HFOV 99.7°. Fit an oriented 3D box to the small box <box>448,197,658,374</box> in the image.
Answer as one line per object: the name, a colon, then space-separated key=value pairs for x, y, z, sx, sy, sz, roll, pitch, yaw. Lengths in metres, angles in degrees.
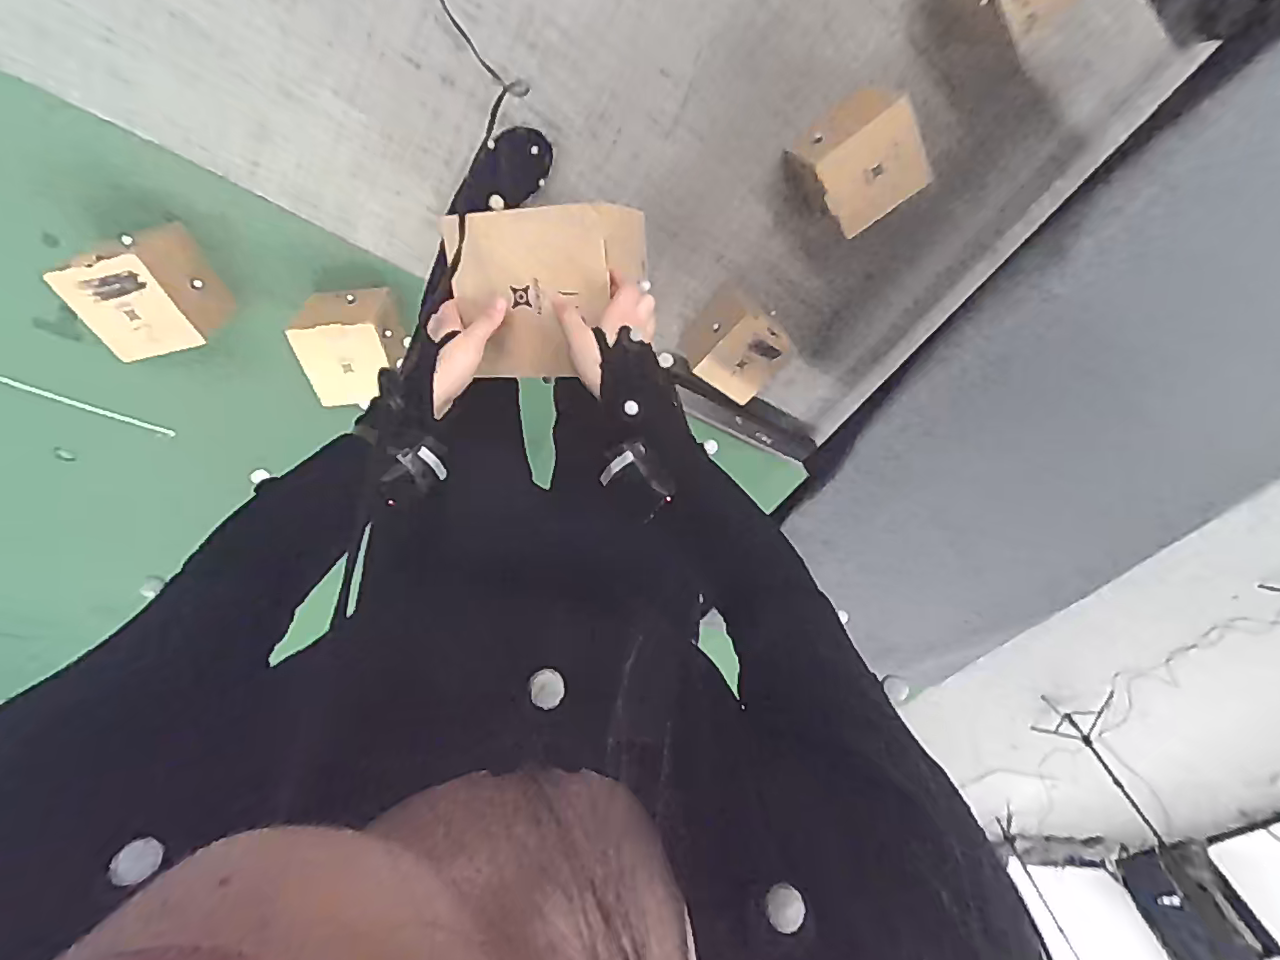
small box: x=-0.085 y=-0.221 z=0.618 sx=0.179 sy=0.176 sz=0.168 roll=3 pitch=114 yaw=14

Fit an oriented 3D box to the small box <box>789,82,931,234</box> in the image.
small box: x=0.404 y=-0.610 z=1.025 sx=0.179 sy=0.176 sz=0.168 roll=-35 pitch=128 yaw=17

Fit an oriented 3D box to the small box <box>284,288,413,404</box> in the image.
small box: x=-0.596 y=-0.282 z=1.135 sx=0.168 sy=0.176 sz=0.179 roll=-7 pitch=131 yaw=-4

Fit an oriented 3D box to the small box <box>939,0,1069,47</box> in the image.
small box: x=0.602 y=-0.841 z=0.858 sx=0.168 sy=0.176 sz=0.179 roll=34 pitch=117 yaw=-32

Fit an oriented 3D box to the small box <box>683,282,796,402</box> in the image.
small box: x=0.218 y=-0.320 z=1.242 sx=0.168 sy=0.176 sz=0.179 roll=27 pitch=122 yaw=-28
